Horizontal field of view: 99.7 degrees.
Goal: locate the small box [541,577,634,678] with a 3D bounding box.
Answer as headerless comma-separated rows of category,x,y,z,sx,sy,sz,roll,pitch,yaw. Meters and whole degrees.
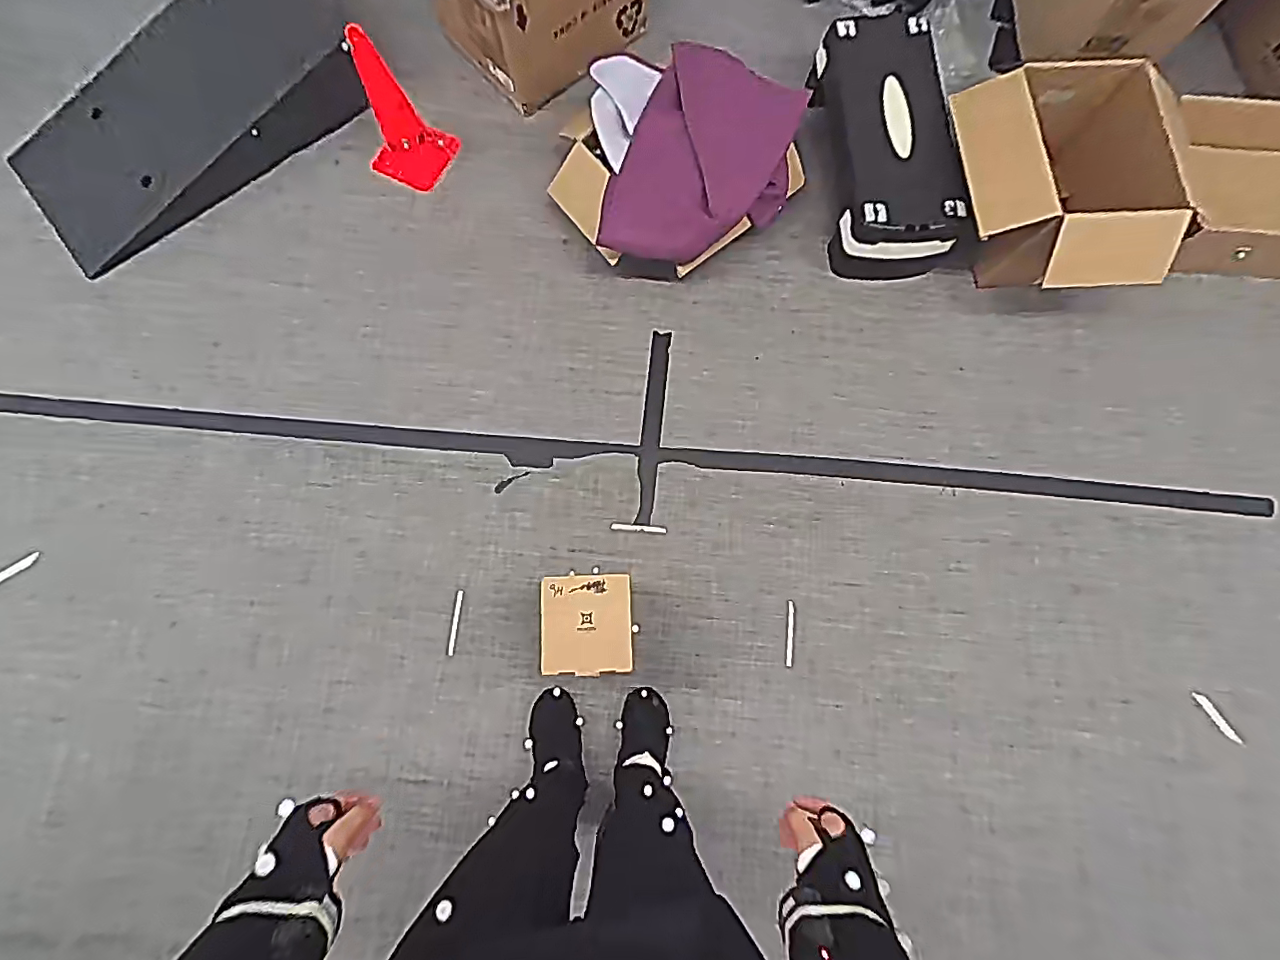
small box,-0.097,0.280,1.057,0.168,0.176,0.179,-2,78,0
